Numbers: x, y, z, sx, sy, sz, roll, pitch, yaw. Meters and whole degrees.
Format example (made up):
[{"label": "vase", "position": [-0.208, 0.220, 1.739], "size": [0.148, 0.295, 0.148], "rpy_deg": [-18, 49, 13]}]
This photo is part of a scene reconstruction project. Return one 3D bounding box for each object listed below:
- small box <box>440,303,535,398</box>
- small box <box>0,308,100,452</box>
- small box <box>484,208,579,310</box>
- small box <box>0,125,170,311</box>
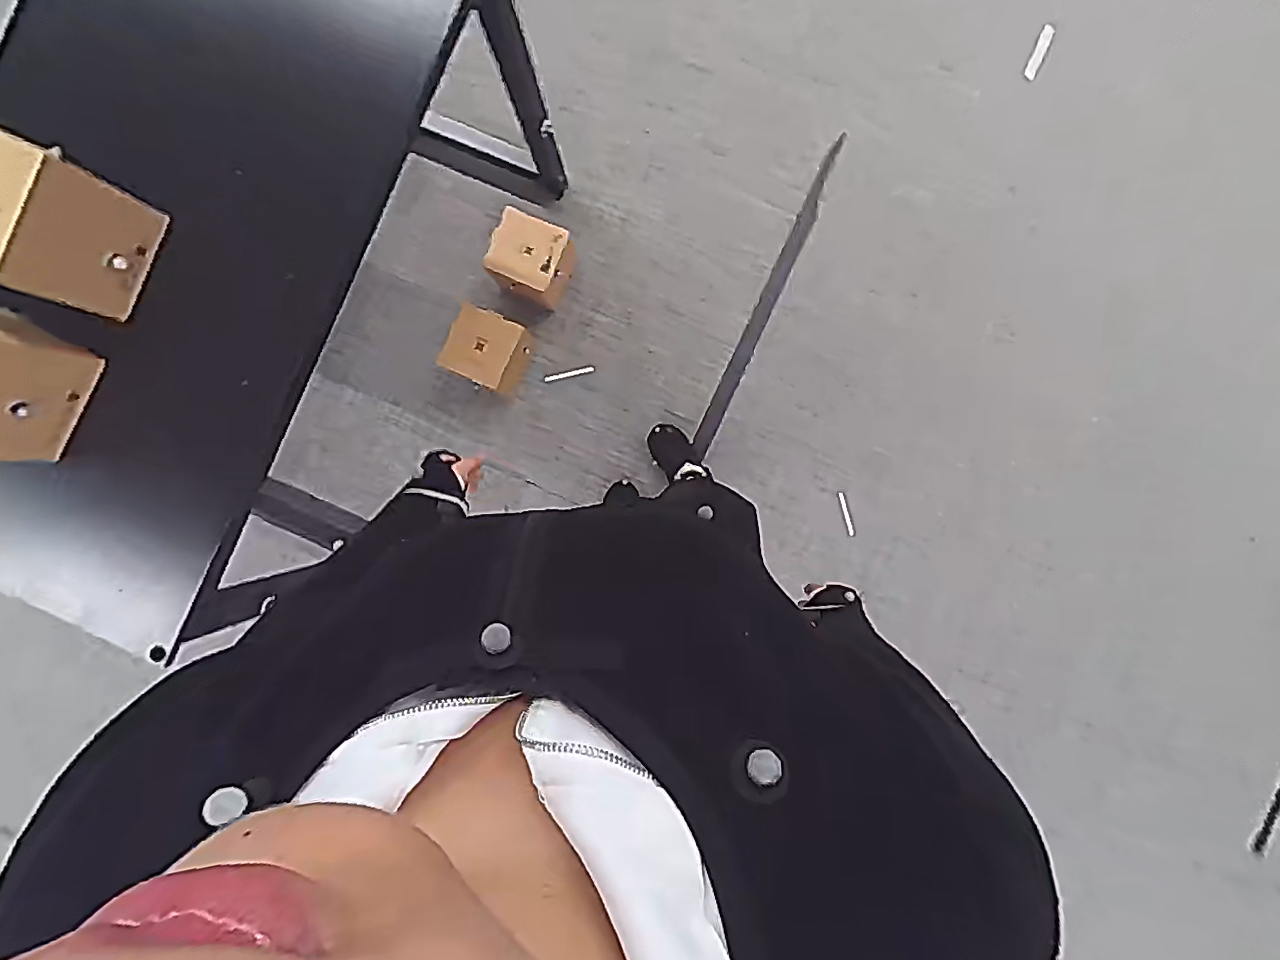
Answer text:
[{"label": "small box", "position": [-0.393, -0.335, 1.430], "size": [0.168, 0.176, 0.179], "rpy_deg": [24, 92, 2]}, {"label": "small box", "position": [-0.892, -0.144, 0.712], "size": [0.179, 0.176, 0.168], "rpy_deg": [28, 90, 1]}, {"label": "small box", "position": [-0.278, -0.571, 1.425], "size": [0.179, 0.176, 0.168], "rpy_deg": [24, 91, 2]}, {"label": "small box", "position": [-0.793, -0.346, 0.709], "size": [0.179, 0.176, 0.168], "rpy_deg": [24, 91, 0]}]
